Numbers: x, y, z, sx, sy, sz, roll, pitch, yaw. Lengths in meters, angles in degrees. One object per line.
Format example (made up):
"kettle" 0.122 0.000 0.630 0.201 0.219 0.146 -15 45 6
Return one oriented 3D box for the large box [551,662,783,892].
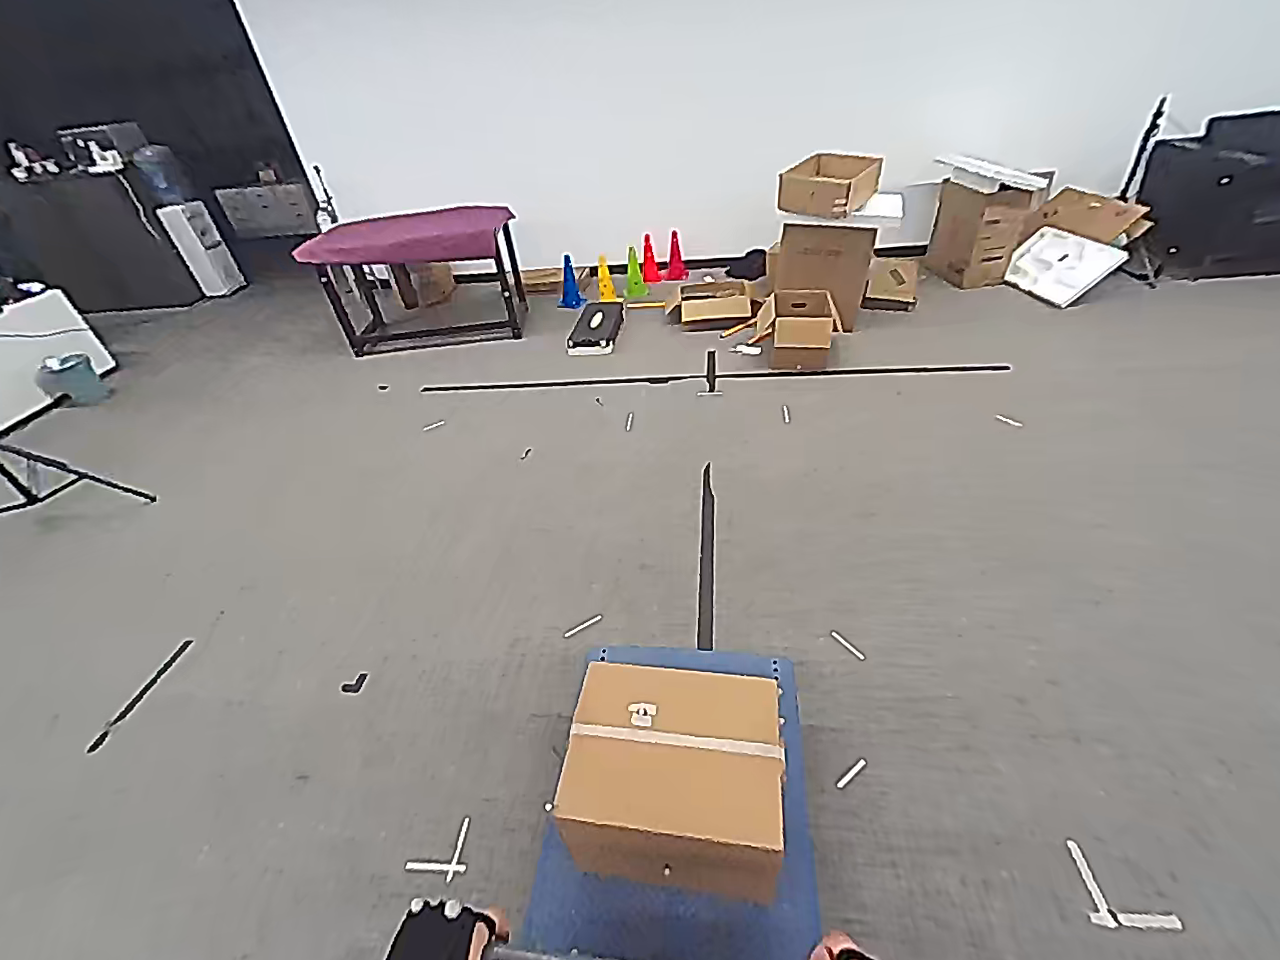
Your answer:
"large box" 0.076 0.608 1.123 0.408 0.320 0.320 1 38 11
